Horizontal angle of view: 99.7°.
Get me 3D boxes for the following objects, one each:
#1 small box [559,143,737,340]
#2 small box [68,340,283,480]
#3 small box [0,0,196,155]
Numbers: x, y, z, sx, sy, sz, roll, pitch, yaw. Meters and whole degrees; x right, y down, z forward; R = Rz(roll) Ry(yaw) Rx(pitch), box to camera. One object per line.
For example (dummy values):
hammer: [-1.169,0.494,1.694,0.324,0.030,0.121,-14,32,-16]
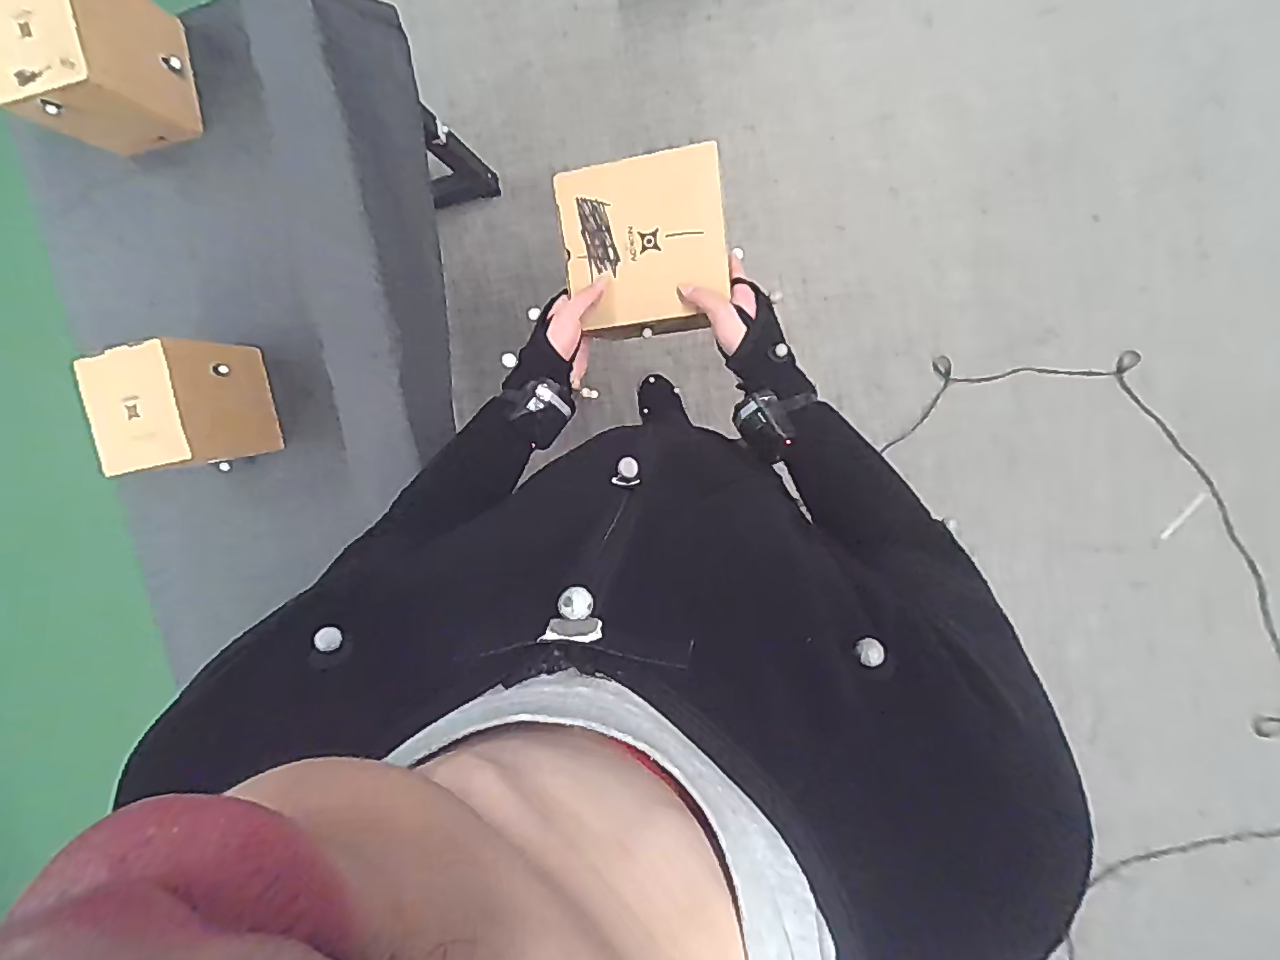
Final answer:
small box: [0.021,-0.262,0.638,0.179,0.176,0.168,-5,100,10]
small box: [-0.709,-0.107,0.845,0.168,0.176,0.179,-10,97,11]
small box: [-0.802,-0.613,0.785,0.168,0.176,0.179,-5,97,10]
